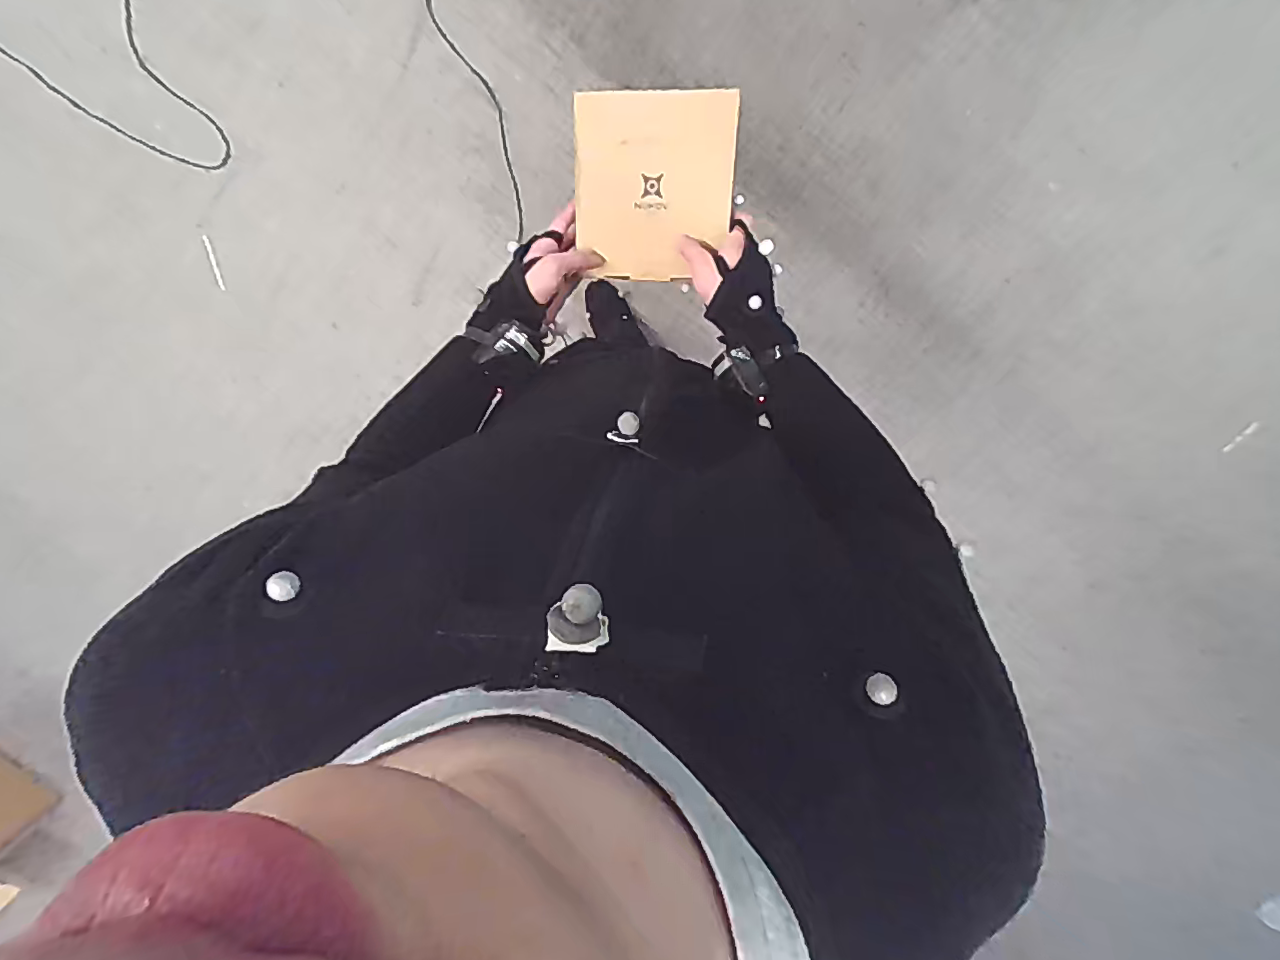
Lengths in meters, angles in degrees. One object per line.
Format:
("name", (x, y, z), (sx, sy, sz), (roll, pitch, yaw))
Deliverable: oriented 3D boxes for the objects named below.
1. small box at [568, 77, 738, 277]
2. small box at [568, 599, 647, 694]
("small box", (0.020, -0.327, 0.614), (0.168, 0.176, 0.179), (4, 111, 6))
("small box", (-0.094, 0.492, 1.620), (0.168, 0.176, 0.179), (35, 104, -7))
